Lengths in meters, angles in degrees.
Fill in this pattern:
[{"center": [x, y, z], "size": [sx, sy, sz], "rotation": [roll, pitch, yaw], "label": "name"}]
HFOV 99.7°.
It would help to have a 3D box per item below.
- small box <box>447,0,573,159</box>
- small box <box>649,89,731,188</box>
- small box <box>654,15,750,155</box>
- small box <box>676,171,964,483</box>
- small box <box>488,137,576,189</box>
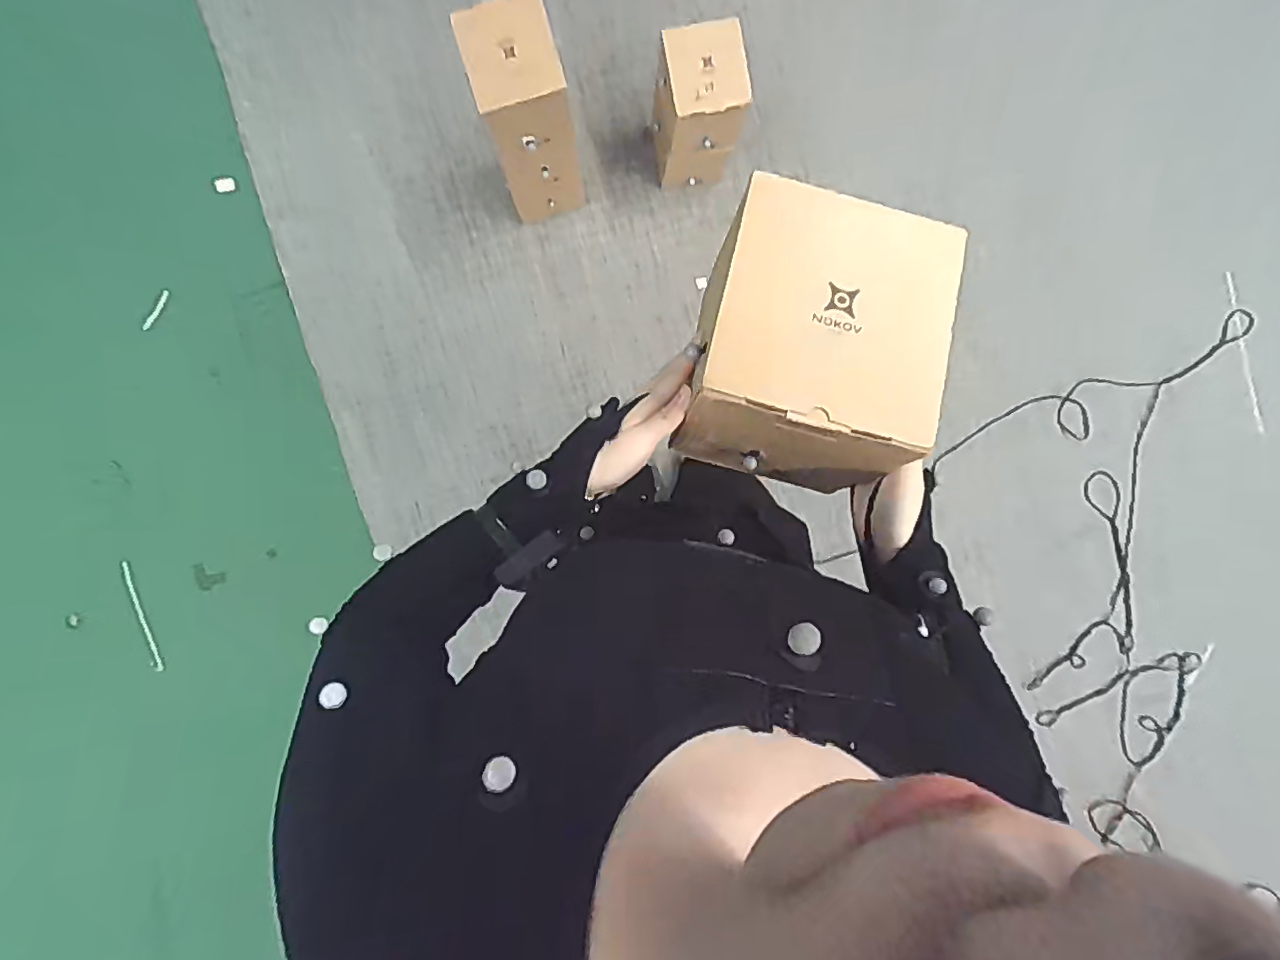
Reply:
[{"center": [-0.235, -0.752, 1.019], "size": [0.168, 0.176, 0.179], "rotation": [-18, 95, 1], "label": "small box"}, {"center": [0.119, -0.869, 1.356], "size": [0.168, 0.176, 0.179], "rotation": [-10, 96, -2], "label": "small box"}, {"center": [0.129, -0.860, 1.192], "size": [0.168, 0.176, 0.179], "rotation": [-12, 95, -1], "label": "small box"}, {"center": [0.135, -0.109, 0.459], "size": [0.168, 0.176, 0.179], "rotation": [14, 79, -3], "label": "small box"}, {"center": [-0.246, -0.767, 1.181], "size": [0.168, 0.176, 0.179], "rotation": [-19, 95, -1], "label": "small box"}]
